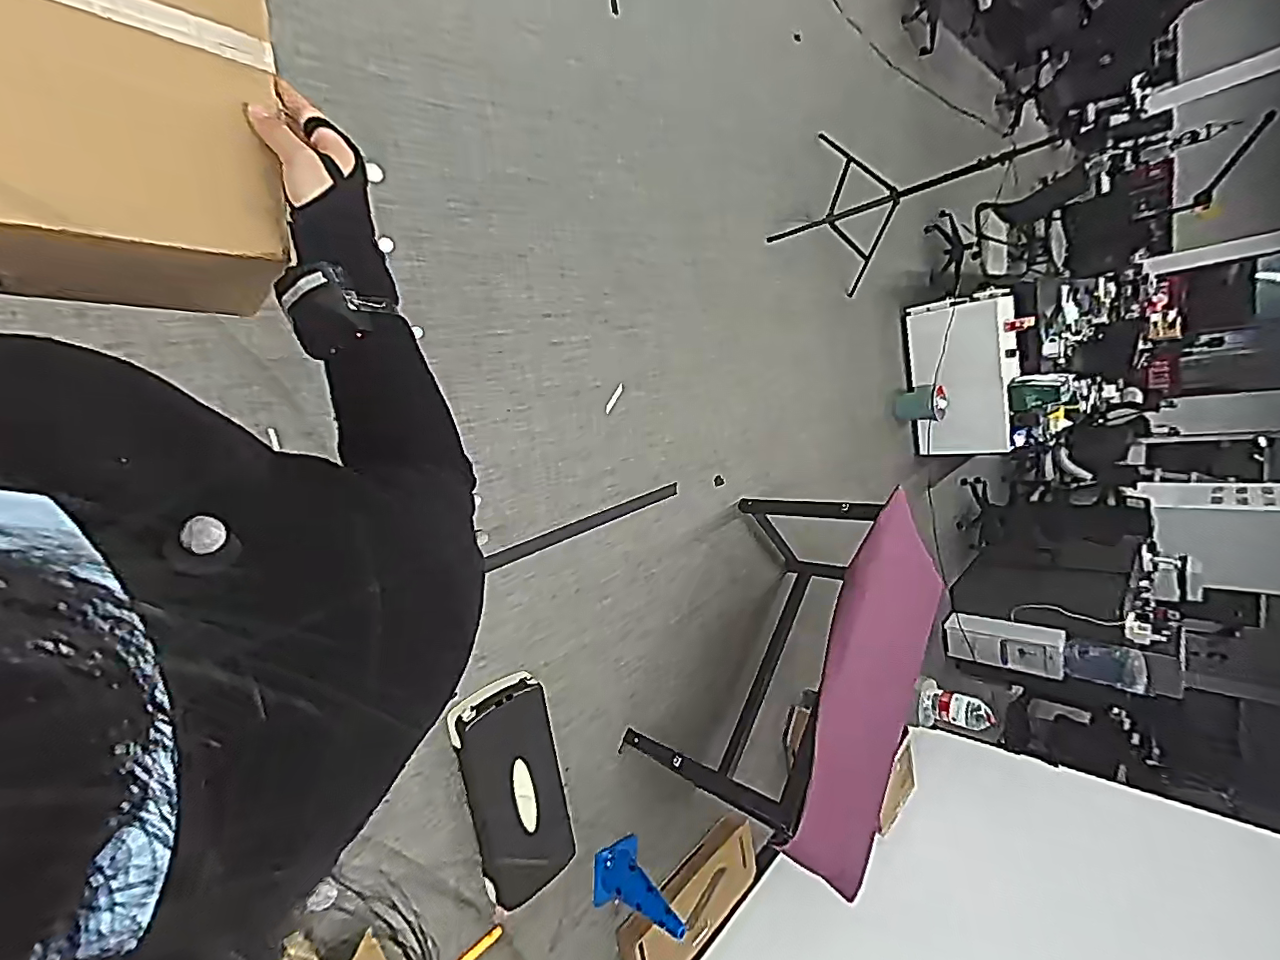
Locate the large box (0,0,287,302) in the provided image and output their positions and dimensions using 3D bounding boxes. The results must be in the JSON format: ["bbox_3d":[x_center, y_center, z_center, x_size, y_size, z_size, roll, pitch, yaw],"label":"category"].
[{"bbox_3d":[-0.557,-0.339,0.438,0.408,0.320,0.320,-7,99,-40],"label":"large box"}]
